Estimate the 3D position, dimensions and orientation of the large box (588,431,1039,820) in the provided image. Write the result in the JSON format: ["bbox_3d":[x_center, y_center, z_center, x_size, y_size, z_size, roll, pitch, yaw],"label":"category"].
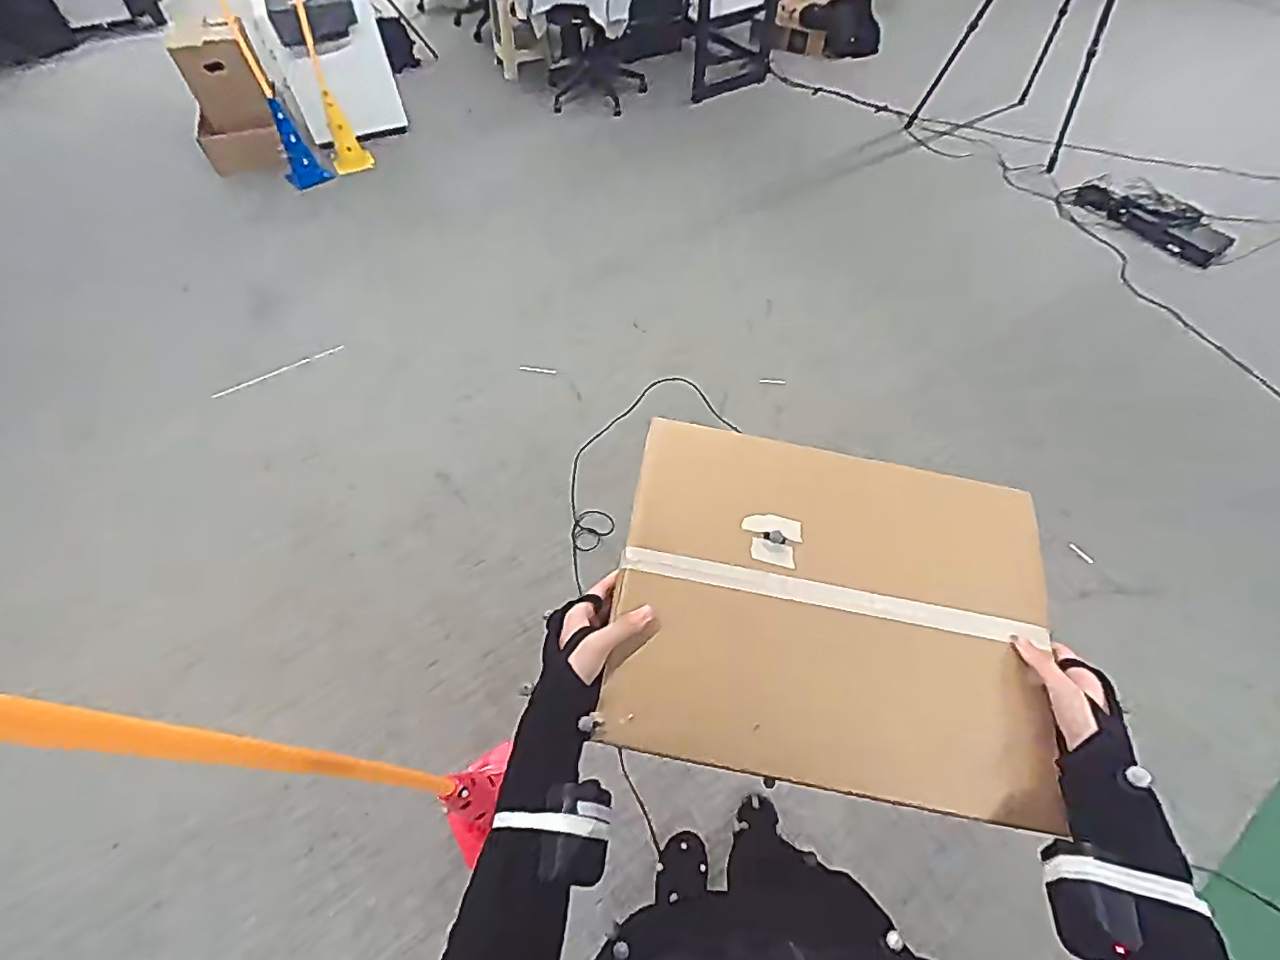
[{"bbox_3d":[0.167,0.175,0.659,0.408,0.320,0.320,11,67,1],"label":"large box"}]
